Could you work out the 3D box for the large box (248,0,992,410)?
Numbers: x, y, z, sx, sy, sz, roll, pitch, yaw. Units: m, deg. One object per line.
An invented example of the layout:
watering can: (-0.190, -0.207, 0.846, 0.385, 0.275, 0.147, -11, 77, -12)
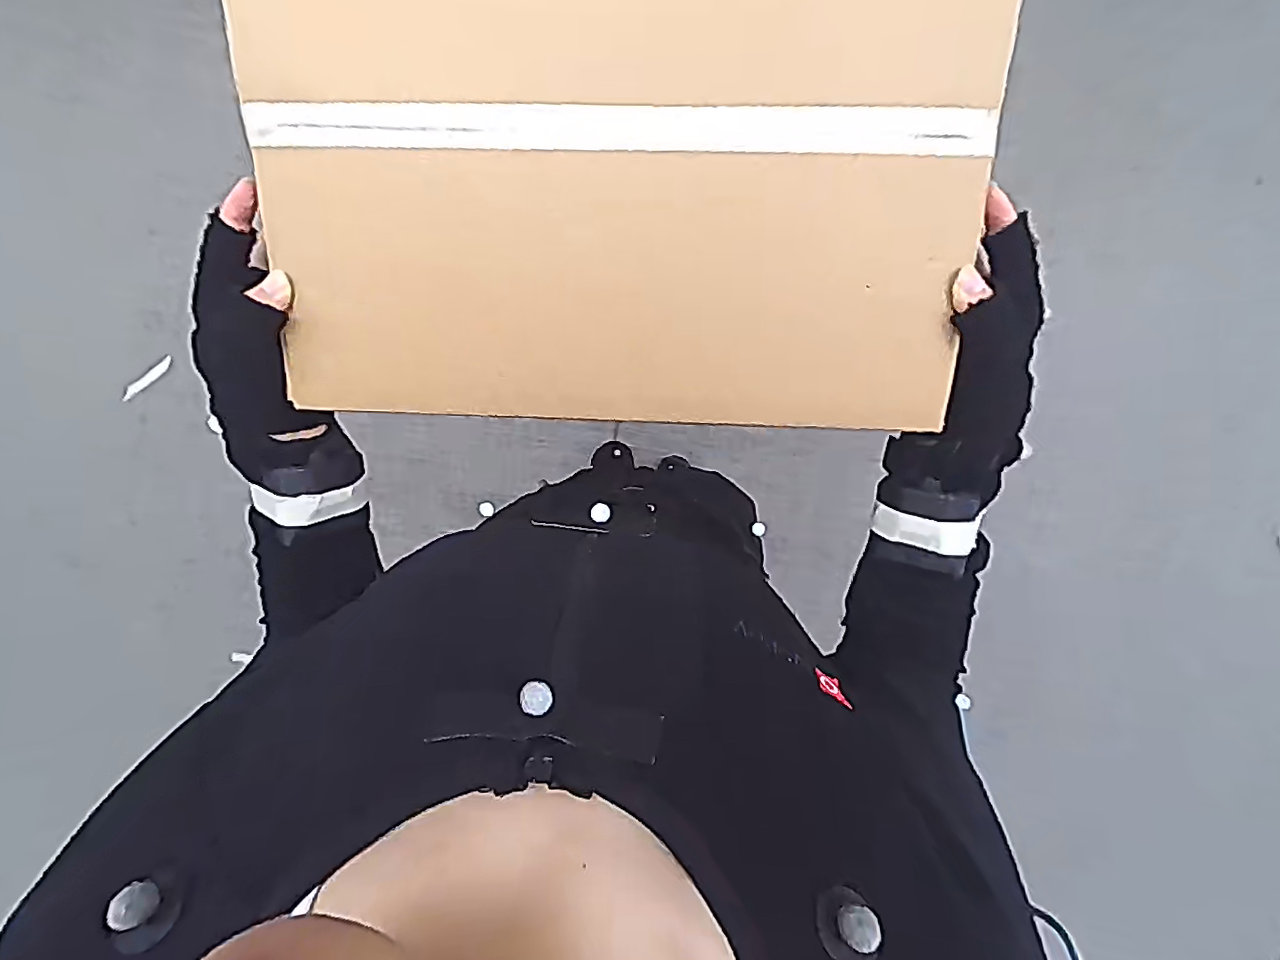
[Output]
large box: (-0.013, -0.235, 0.448, 0.408, 0.320, 0.320, 1, 107, 2)
